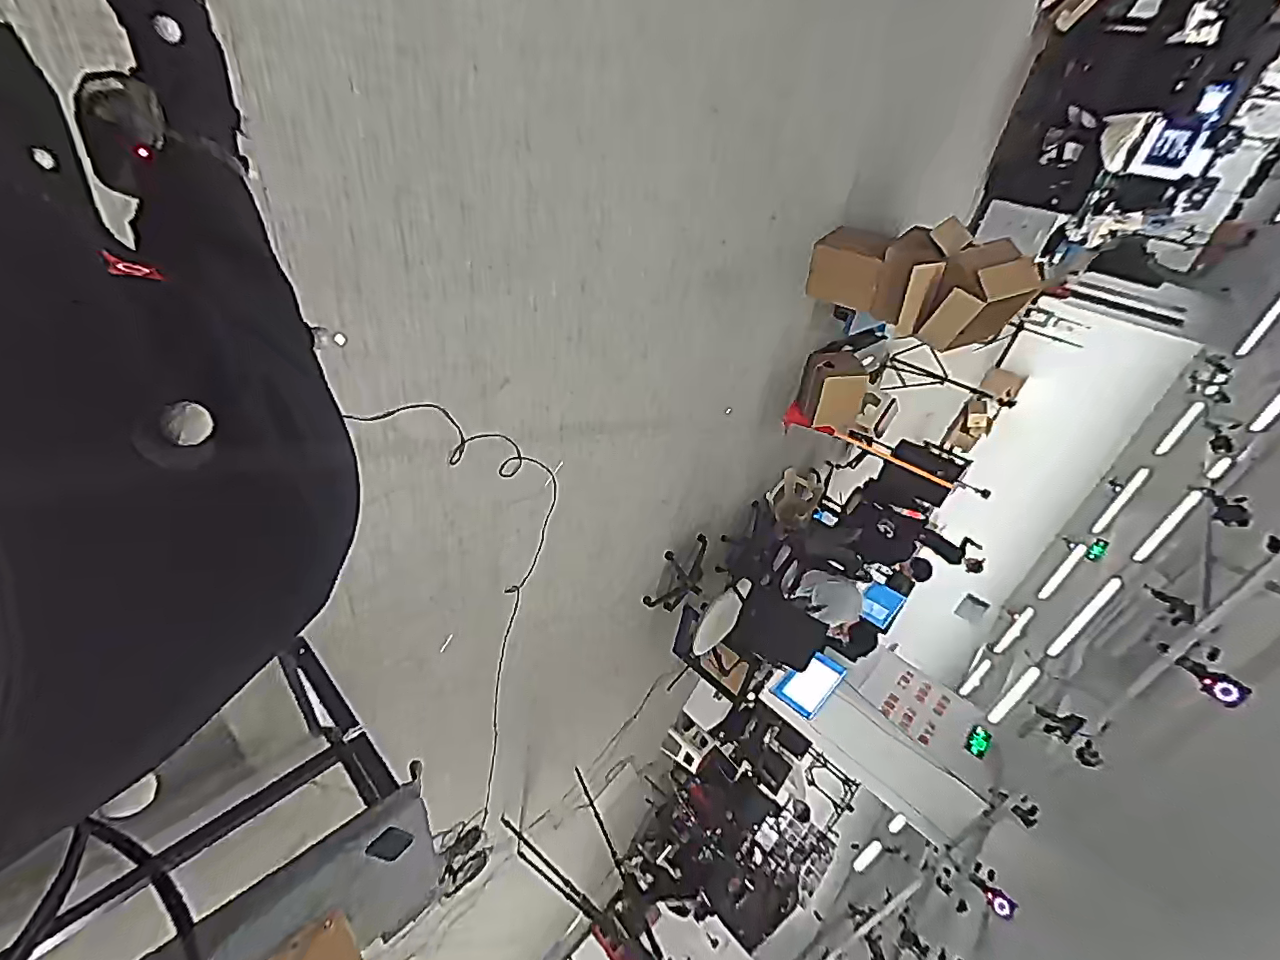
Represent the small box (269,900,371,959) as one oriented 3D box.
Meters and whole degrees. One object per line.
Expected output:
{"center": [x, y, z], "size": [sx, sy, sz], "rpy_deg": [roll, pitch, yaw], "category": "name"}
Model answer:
{"center": [-0.793, 1.208, 1.352], "size": [0.168, 0.176, 0.179], "rpy_deg": [-28, 141, -40], "category": "small box"}
